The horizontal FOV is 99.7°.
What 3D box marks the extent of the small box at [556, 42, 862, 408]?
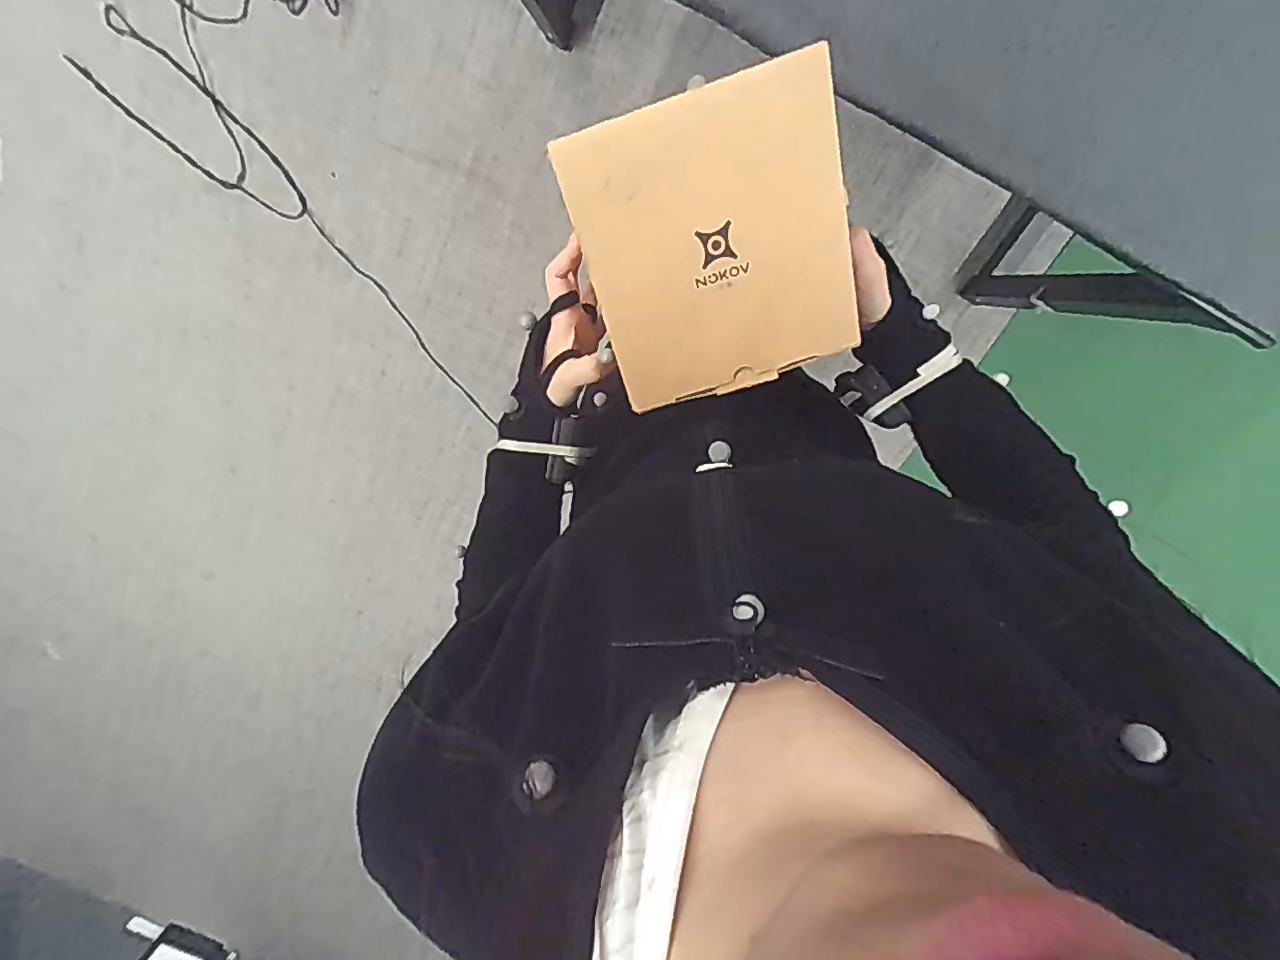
[{"bbox_3d":[0.046,-0.181,0.410,0.168,0.176,0.179,-17,117,5],"label":"small box"}]
